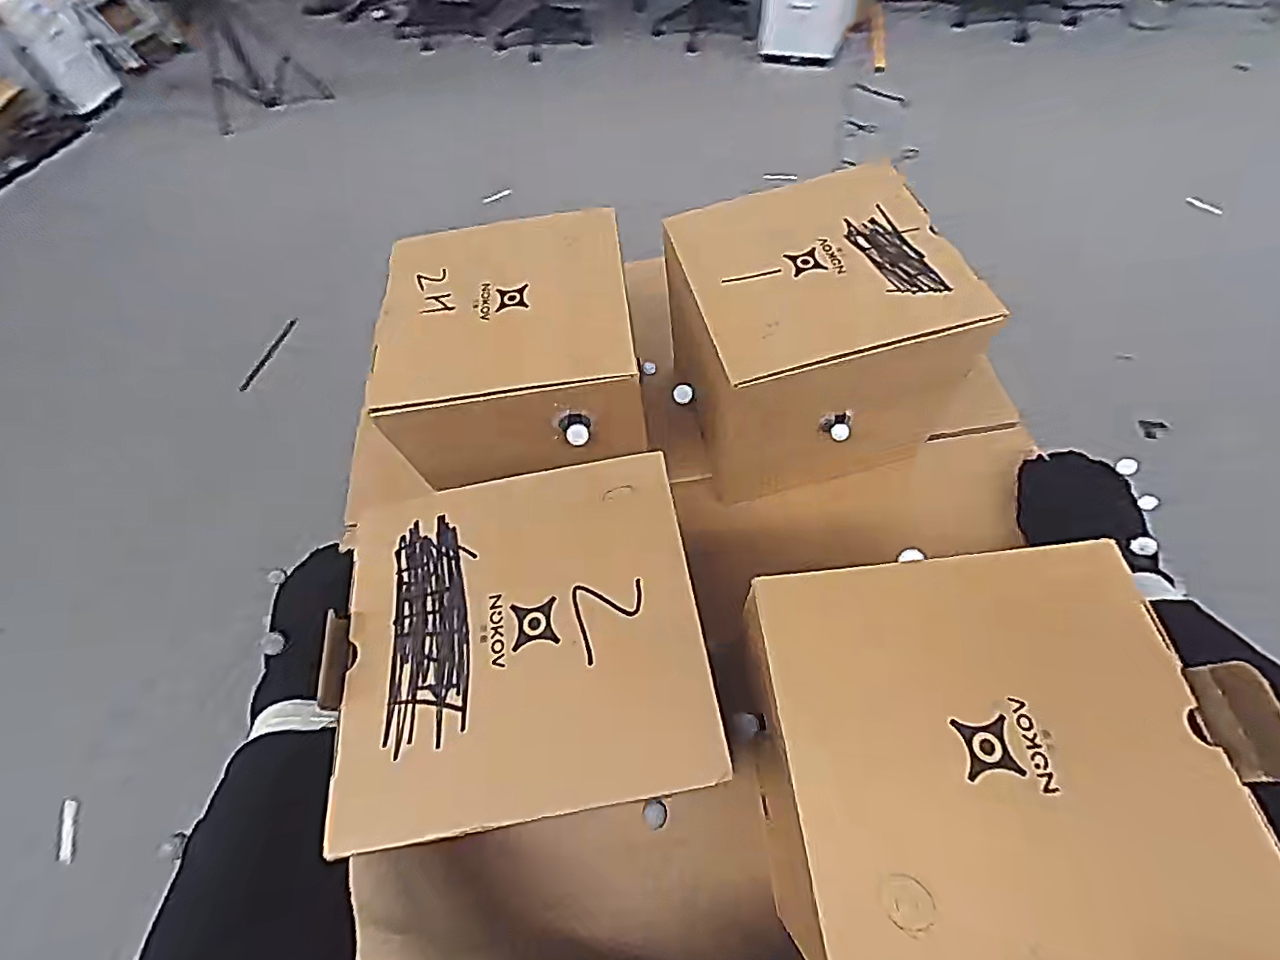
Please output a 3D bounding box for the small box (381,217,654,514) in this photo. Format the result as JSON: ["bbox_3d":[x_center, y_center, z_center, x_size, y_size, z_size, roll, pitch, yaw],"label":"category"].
[{"bbox_3d":[-0.082,-0.085,0.456,0.179,0.176,0.168,-7,60,3],"label":"small box"}]
